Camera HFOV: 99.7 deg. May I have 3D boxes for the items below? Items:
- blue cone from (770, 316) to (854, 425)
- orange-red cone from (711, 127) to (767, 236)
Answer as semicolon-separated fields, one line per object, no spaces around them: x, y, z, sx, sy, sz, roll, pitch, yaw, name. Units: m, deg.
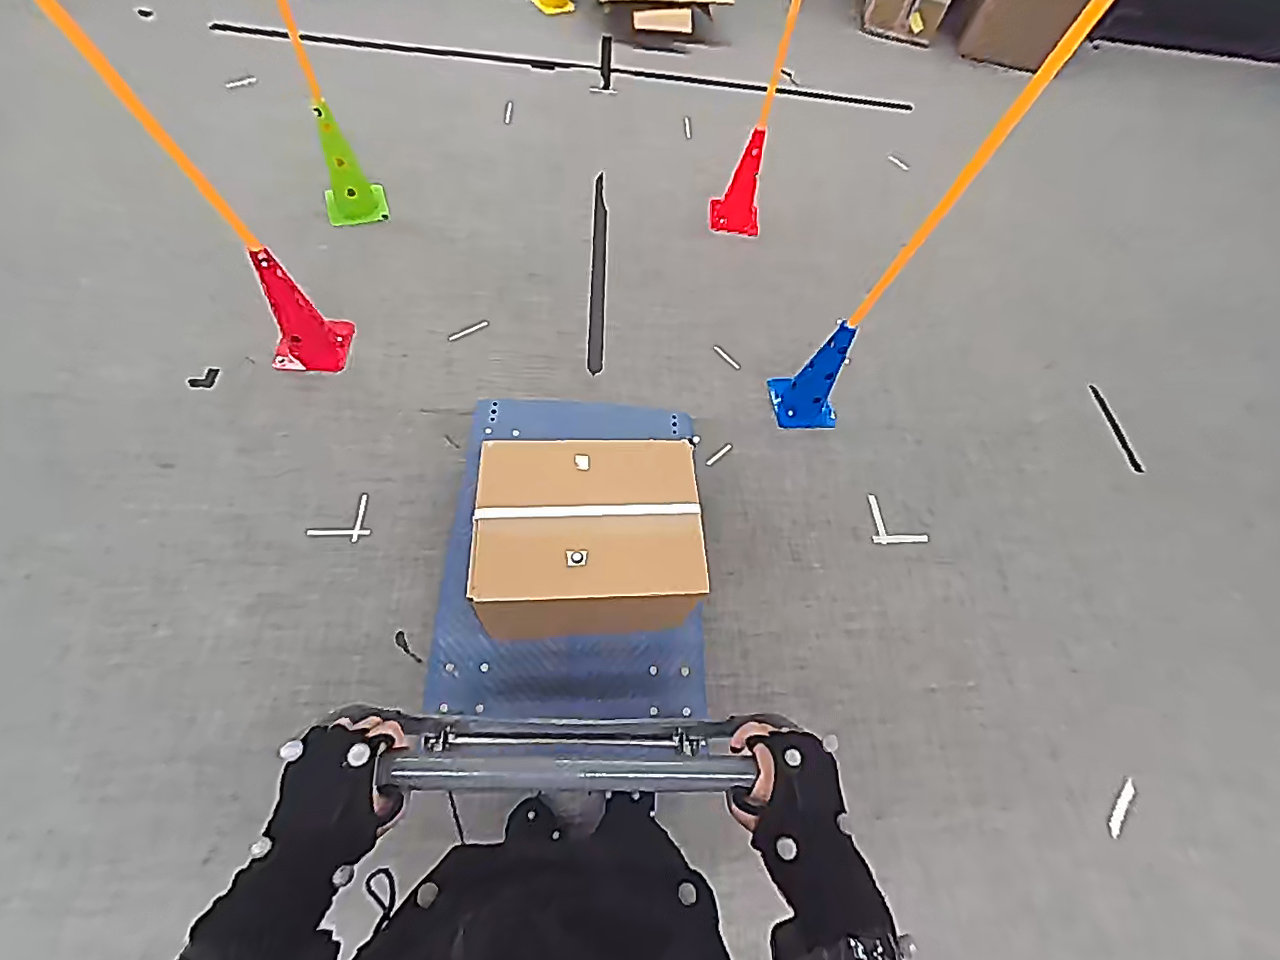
0.557;-0.341;1.650;0.193;0.380;0.192;-1;61;-9;blue cone
0.410;-1.147;2.048;0.199;0.360;0.198;8;62;-4;orange-red cone
